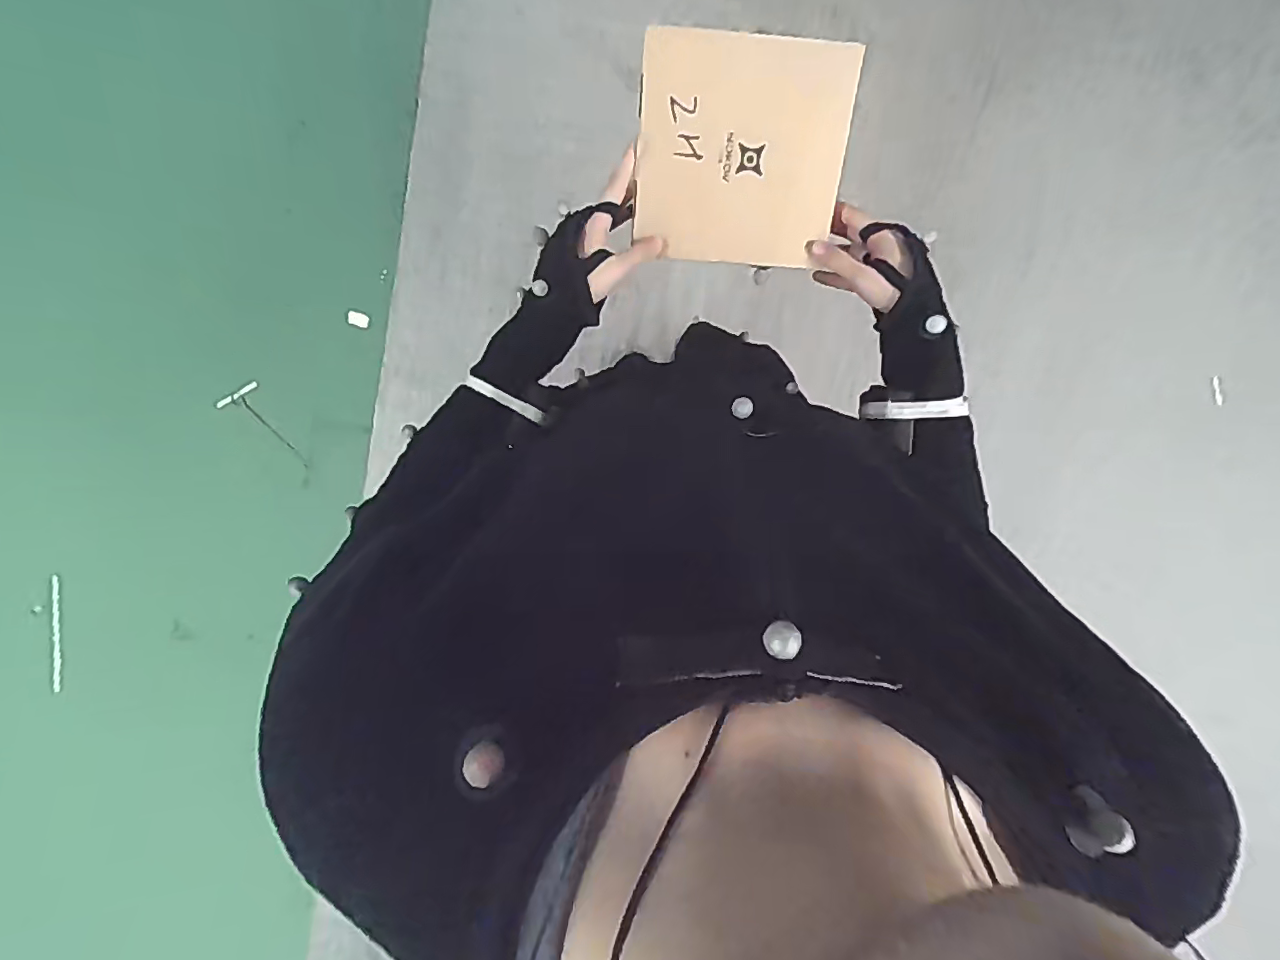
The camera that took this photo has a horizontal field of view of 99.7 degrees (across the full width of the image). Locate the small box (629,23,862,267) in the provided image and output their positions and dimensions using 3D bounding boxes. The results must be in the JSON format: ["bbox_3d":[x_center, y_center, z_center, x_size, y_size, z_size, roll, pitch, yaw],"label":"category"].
[{"bbox_3d":[0.081,-0.303,0.522,0.179,0.176,0.168,3,113,-2],"label":"small box"}]
